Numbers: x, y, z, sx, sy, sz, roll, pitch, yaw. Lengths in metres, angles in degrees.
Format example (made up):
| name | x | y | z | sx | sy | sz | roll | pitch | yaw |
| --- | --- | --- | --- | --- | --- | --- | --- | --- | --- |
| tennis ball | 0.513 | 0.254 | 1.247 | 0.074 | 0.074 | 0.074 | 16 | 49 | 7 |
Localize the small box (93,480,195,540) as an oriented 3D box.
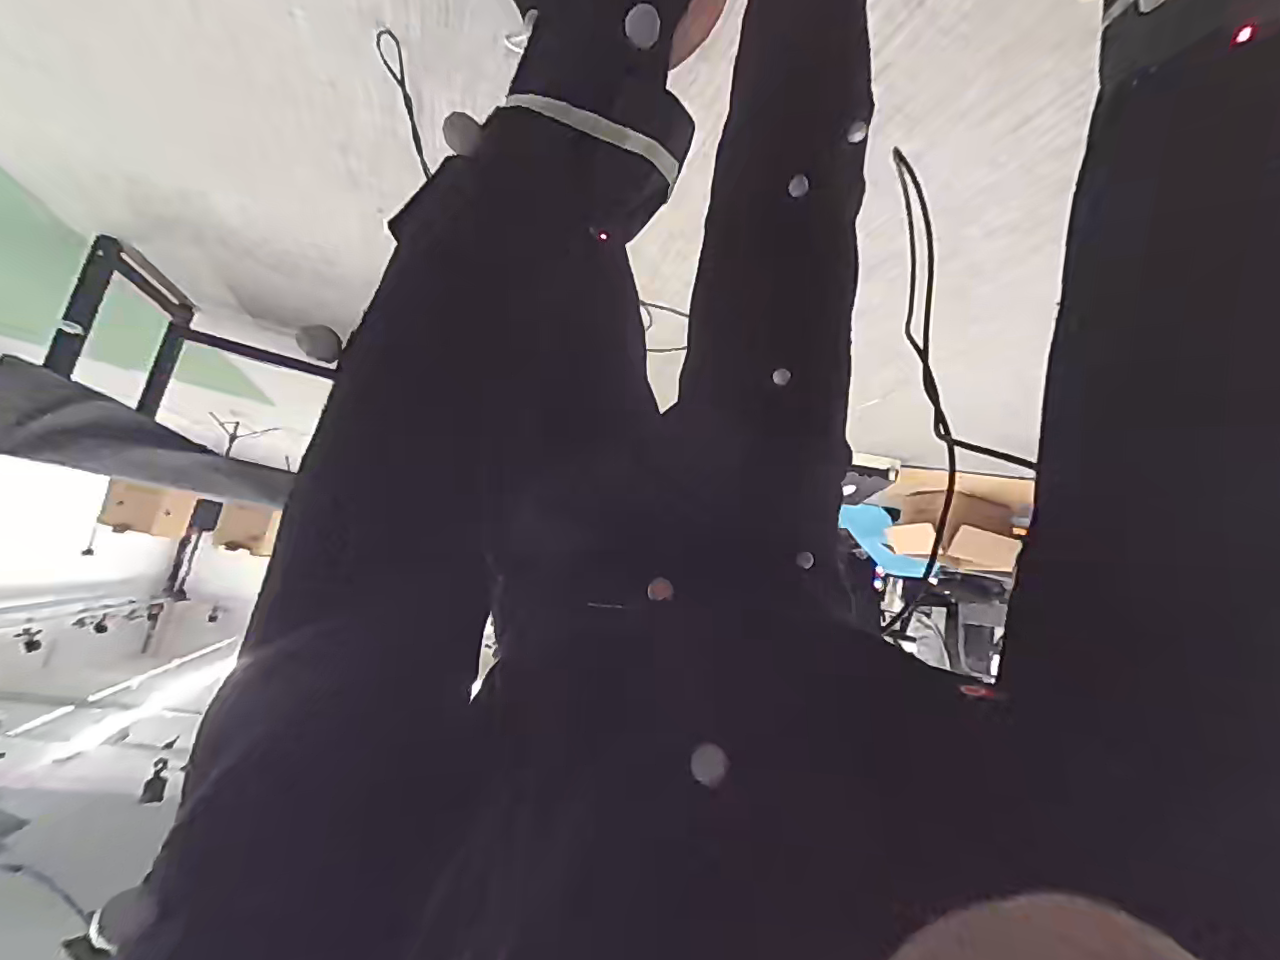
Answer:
| name | x | y | z | sx | sy | sz | roll | pitch | yaw |
| --- | --- | --- | --- | --- | --- | --- | --- | --- | --- |
| small box | -1.682 | 0.103 | 1.844 | 0.168 | 0.176 | 0.179 | 14 | 170 | -7 |
